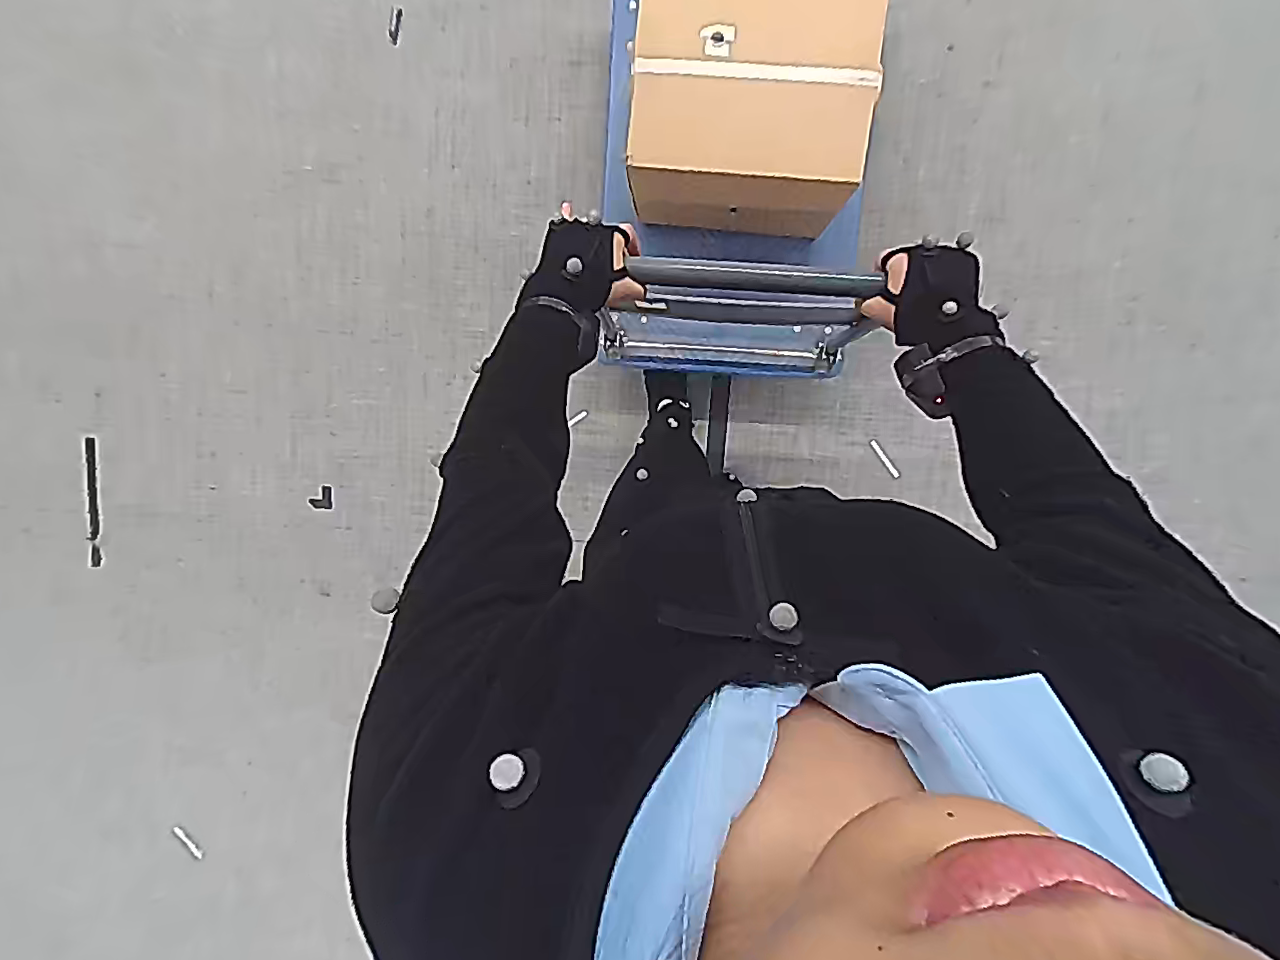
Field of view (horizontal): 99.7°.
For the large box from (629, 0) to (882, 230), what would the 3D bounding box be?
[{"bbox_3d":[0.205,-0.705,1.060,0.408,0.320,0.320,6,97,4],"label":"large box"}]
